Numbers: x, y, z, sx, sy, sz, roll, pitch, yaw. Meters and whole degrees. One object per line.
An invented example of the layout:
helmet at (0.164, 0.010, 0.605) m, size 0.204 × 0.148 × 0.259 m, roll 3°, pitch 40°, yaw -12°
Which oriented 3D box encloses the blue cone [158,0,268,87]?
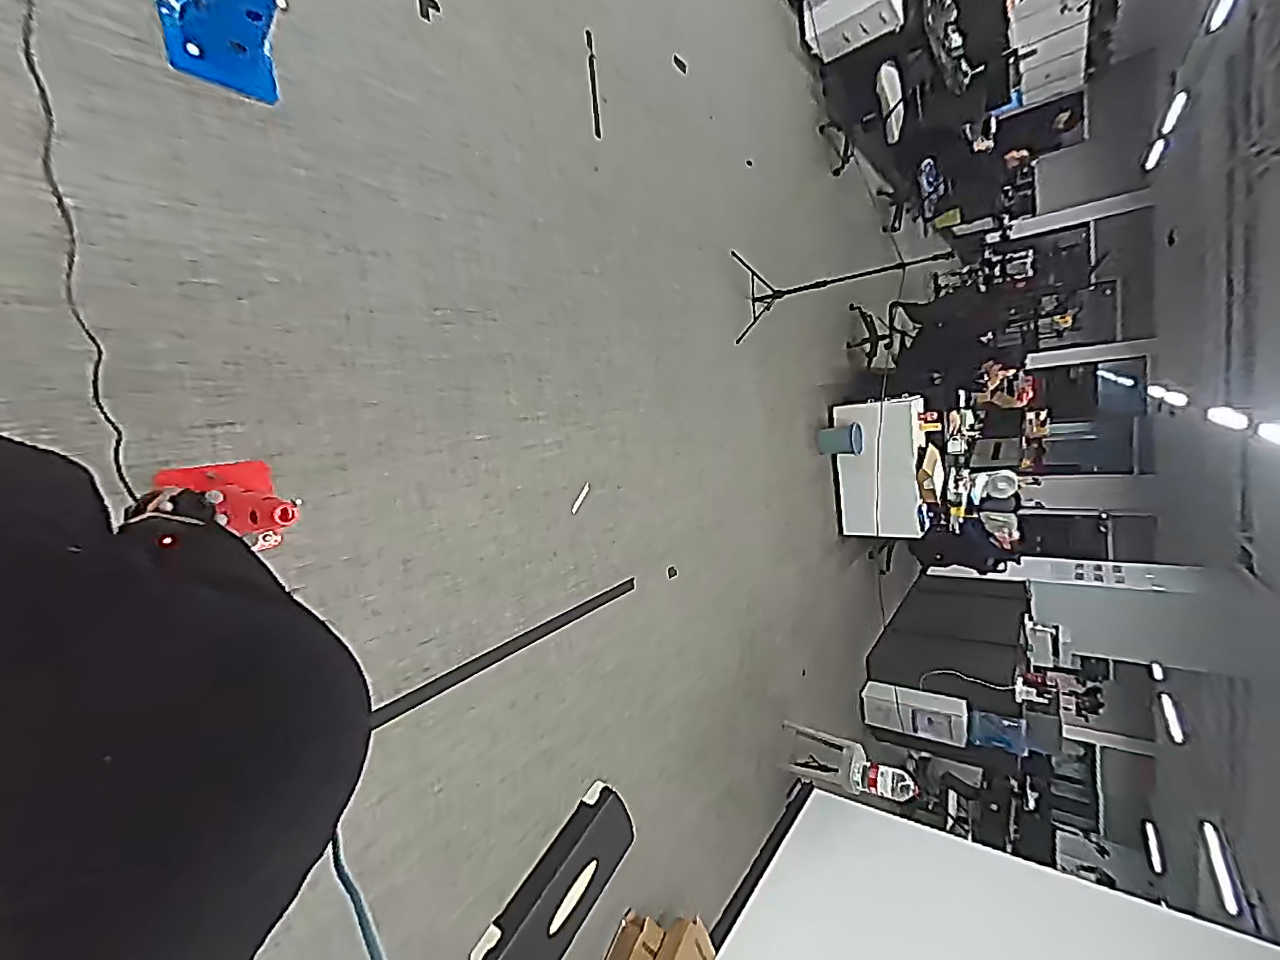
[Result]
blue cone at (-0.786, -0.973, 1.062) m, size 0.193 × 0.380 × 0.192 m, roll -10°, pitch 97°, yaw -52°
